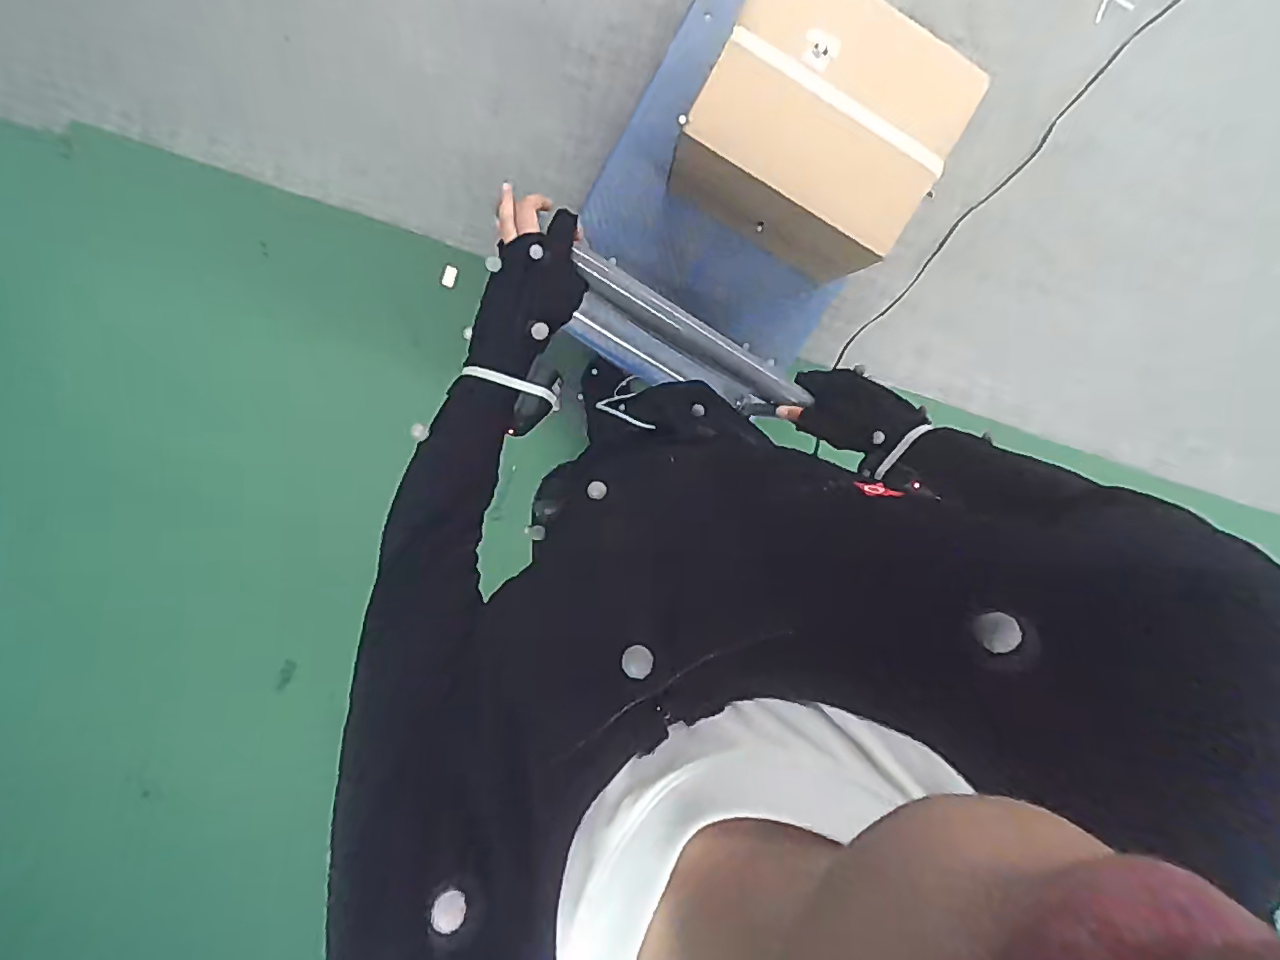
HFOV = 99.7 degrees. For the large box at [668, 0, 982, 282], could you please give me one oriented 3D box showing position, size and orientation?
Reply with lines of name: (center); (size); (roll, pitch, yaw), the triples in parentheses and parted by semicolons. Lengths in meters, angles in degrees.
large box: (0.303, -0.624, 1.013); (0.408, 0.320, 0.320); (29, 99, -6)
